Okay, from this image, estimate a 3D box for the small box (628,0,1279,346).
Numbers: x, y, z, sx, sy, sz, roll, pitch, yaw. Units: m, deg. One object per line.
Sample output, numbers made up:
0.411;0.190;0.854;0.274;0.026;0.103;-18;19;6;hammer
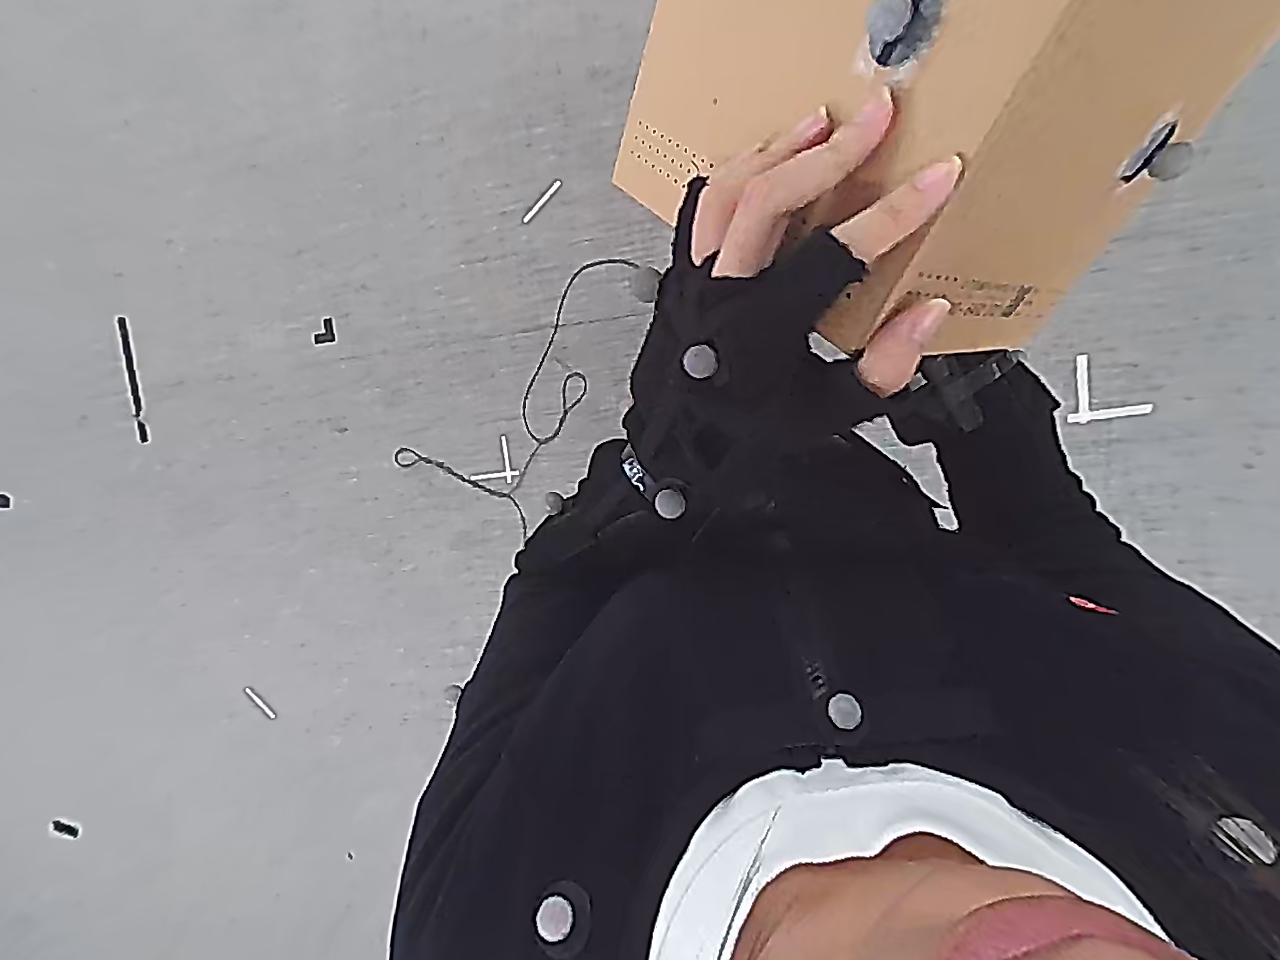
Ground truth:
0.120;-0.173;0.242;0.179;0.168;0.176;52;137;33;small box
